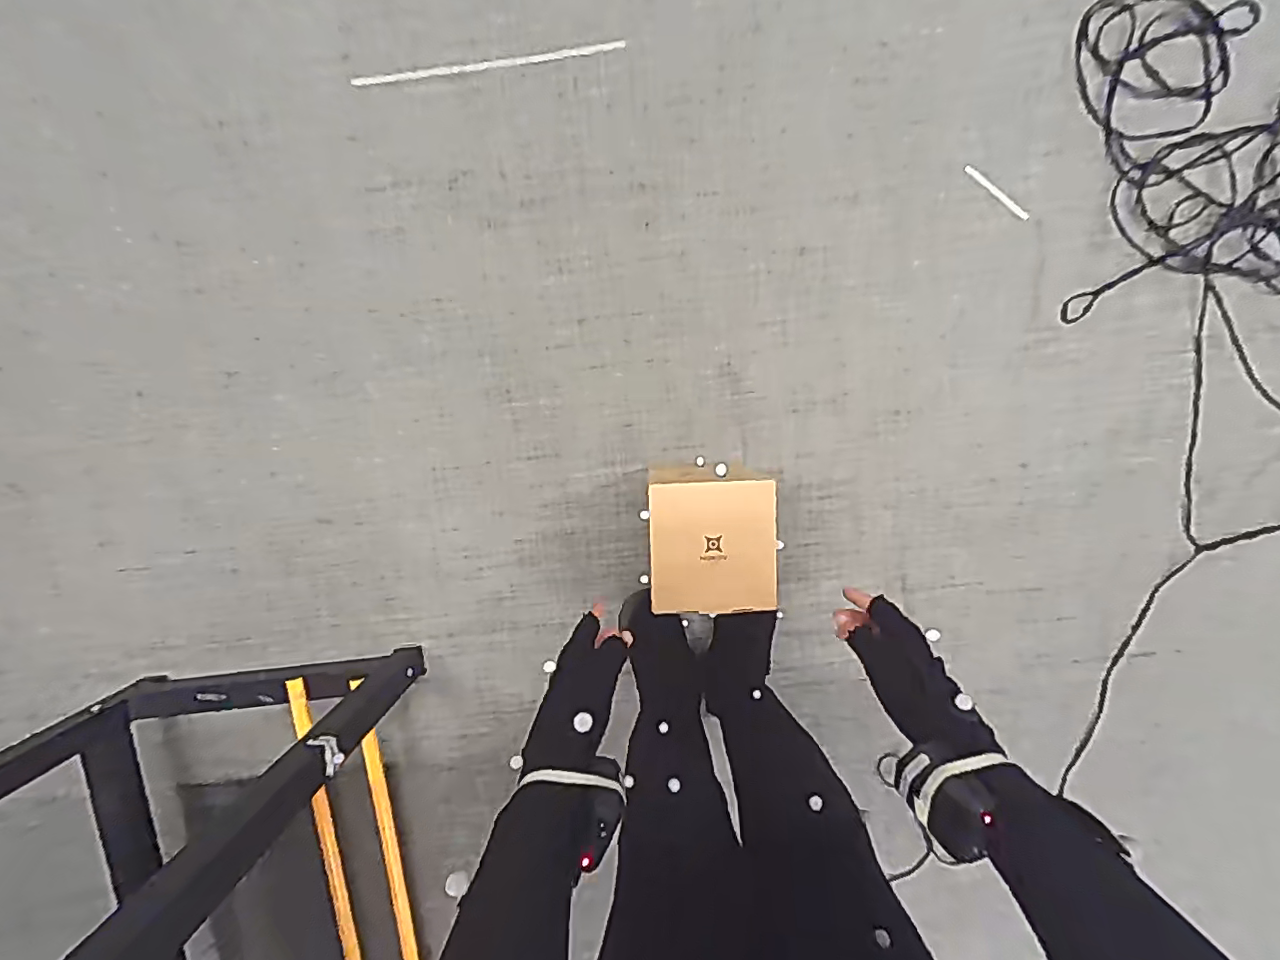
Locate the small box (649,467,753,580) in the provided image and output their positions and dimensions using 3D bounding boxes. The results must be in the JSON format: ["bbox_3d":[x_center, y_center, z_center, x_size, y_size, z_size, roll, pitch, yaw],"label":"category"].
[{"bbox_3d":[0.100,0.068,0.946,0.168,0.176,0.179,-1,97,2],"label":"small box"}]
